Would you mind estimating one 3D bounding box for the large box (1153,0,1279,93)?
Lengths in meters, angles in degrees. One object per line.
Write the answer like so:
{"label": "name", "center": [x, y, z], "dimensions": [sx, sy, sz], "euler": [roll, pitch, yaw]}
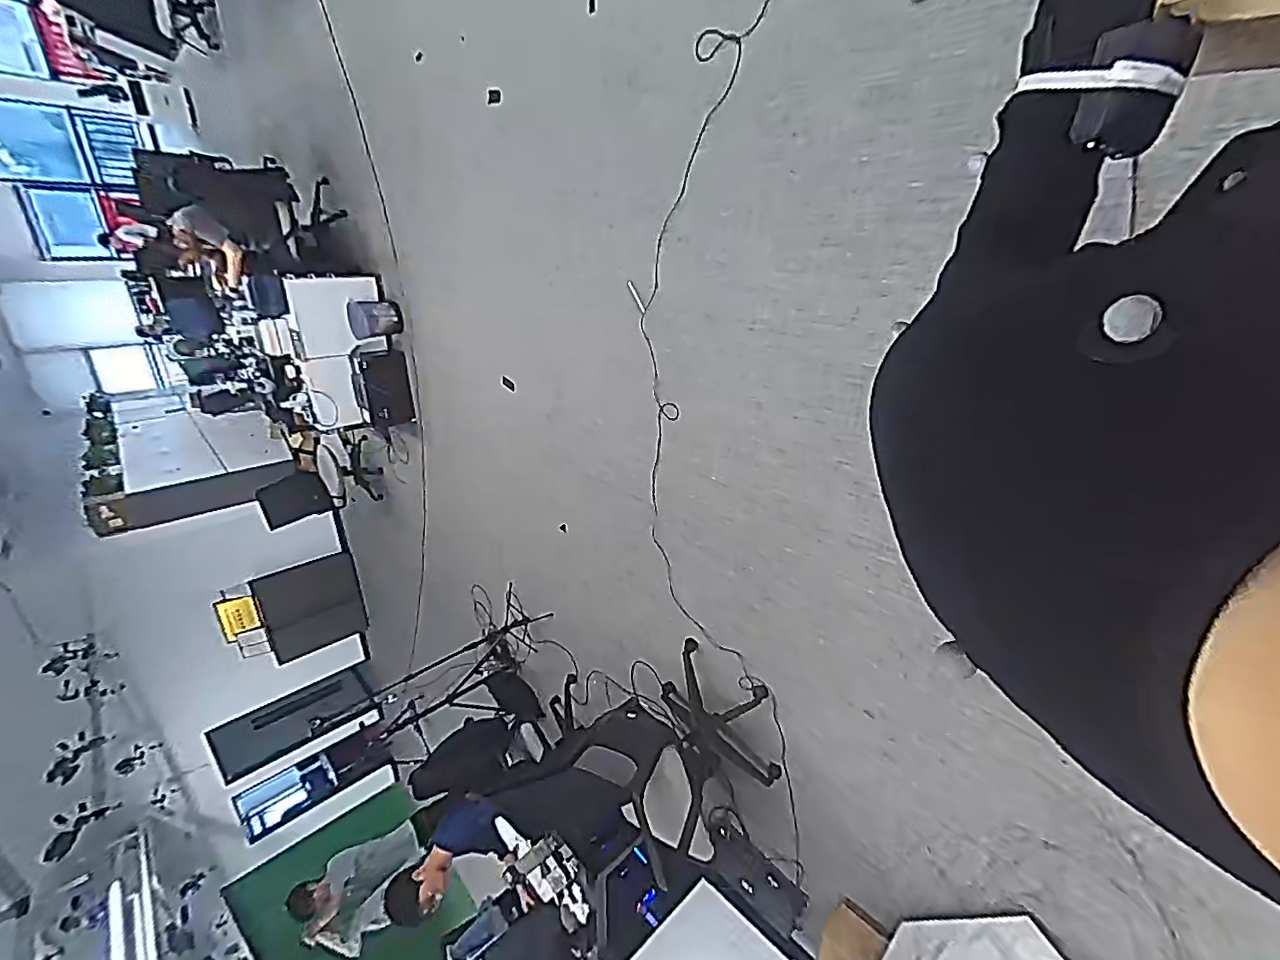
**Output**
{"label": "large box", "center": [0.564, -0.409, 0.254], "dimensions": [0.408, 0.320, 0.320], "euler": [21, 127, 37]}
